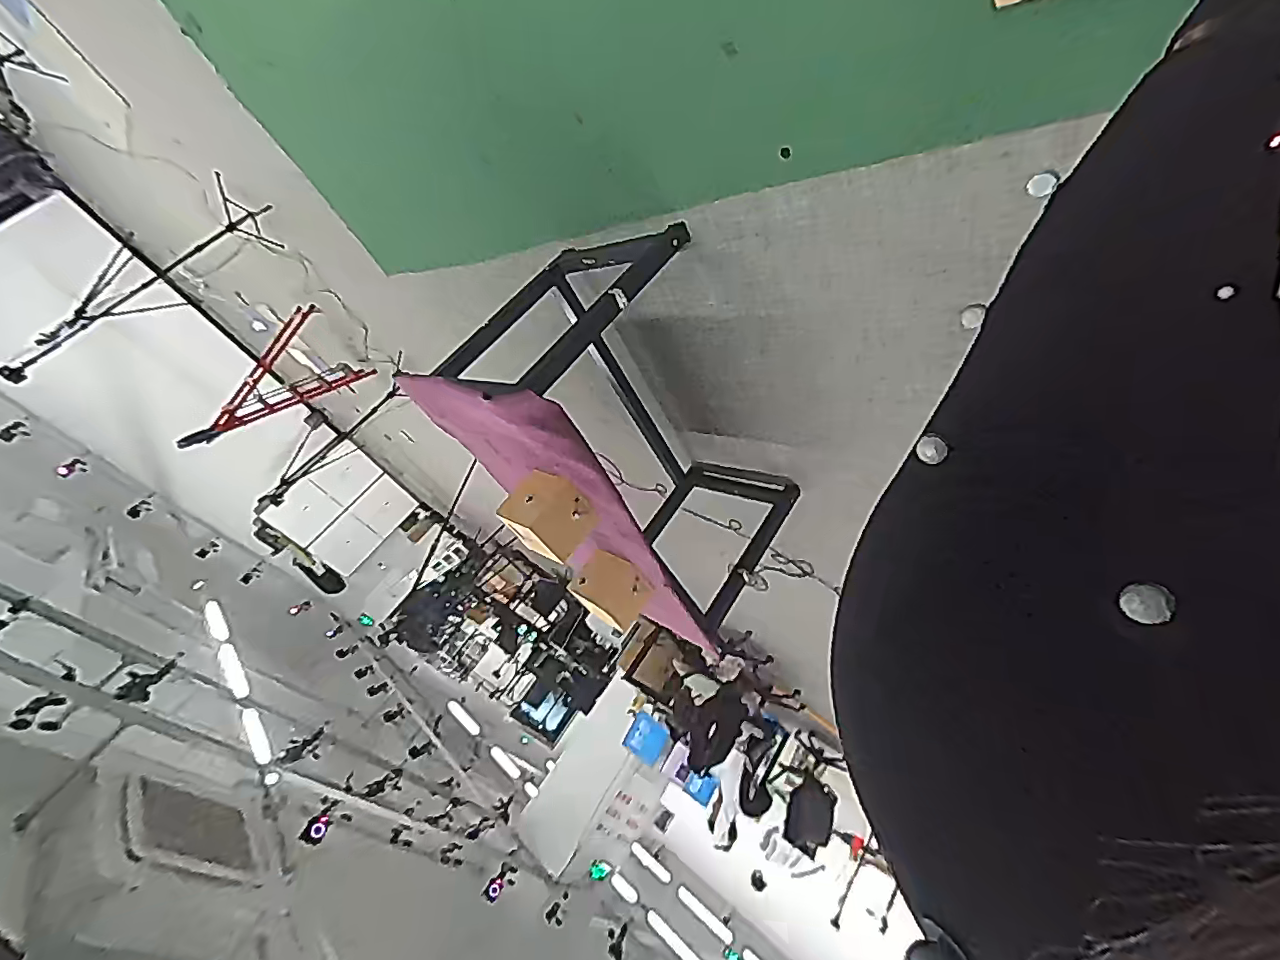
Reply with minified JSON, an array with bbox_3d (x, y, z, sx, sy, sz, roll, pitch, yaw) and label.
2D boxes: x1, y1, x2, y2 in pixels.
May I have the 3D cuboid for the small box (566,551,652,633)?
[{"bbox_3d":[-0.095,0.349,1.724,0.179,0.176,0.168,16,150,47],"label":"small box"}]

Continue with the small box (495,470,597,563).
[{"bbox_3d":[-0.251,0.093,1.468,0.179,0.176,0.168,15,149,45],"label":"small box"}]
